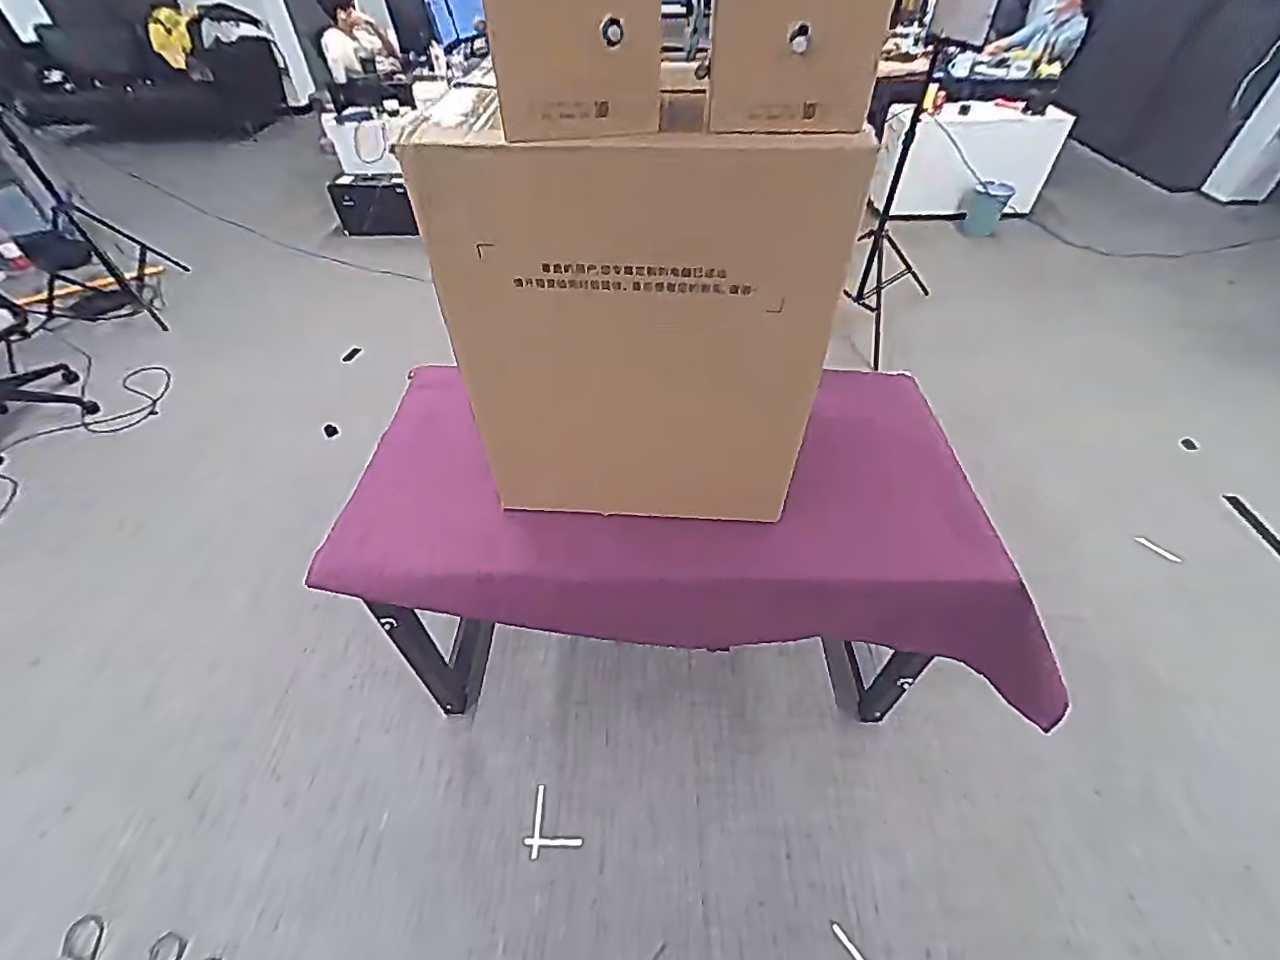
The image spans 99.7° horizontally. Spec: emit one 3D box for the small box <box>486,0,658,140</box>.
[{"bbox_3d":[-0.072,-0.481,0.583,0.168,0.176,0.179,-6,47,-7],"label":"small box"}]

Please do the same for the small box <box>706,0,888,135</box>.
[{"bbox_3d":[0.160,-0.489,0.581,0.168,0.176,0.179,3,48,3],"label":"small box"}]
